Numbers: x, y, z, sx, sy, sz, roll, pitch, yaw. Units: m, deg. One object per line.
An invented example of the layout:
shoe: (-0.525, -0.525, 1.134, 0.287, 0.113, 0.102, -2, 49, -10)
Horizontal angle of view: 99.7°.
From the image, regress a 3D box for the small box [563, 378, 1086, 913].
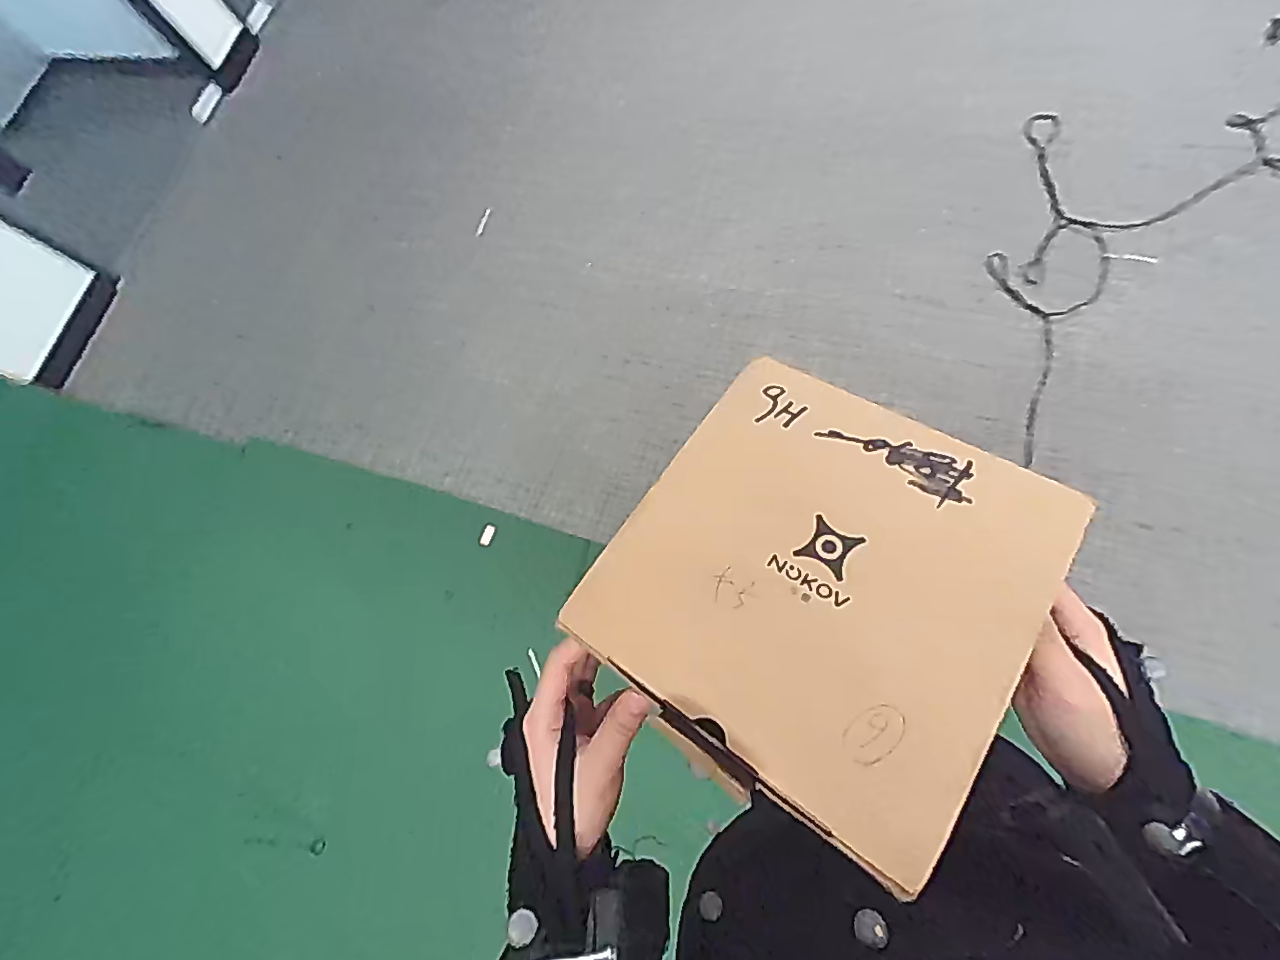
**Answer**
small box: (0.091, 0.083, 0.309, 0.168, 0.176, 0.179, 32, 73, 23)
